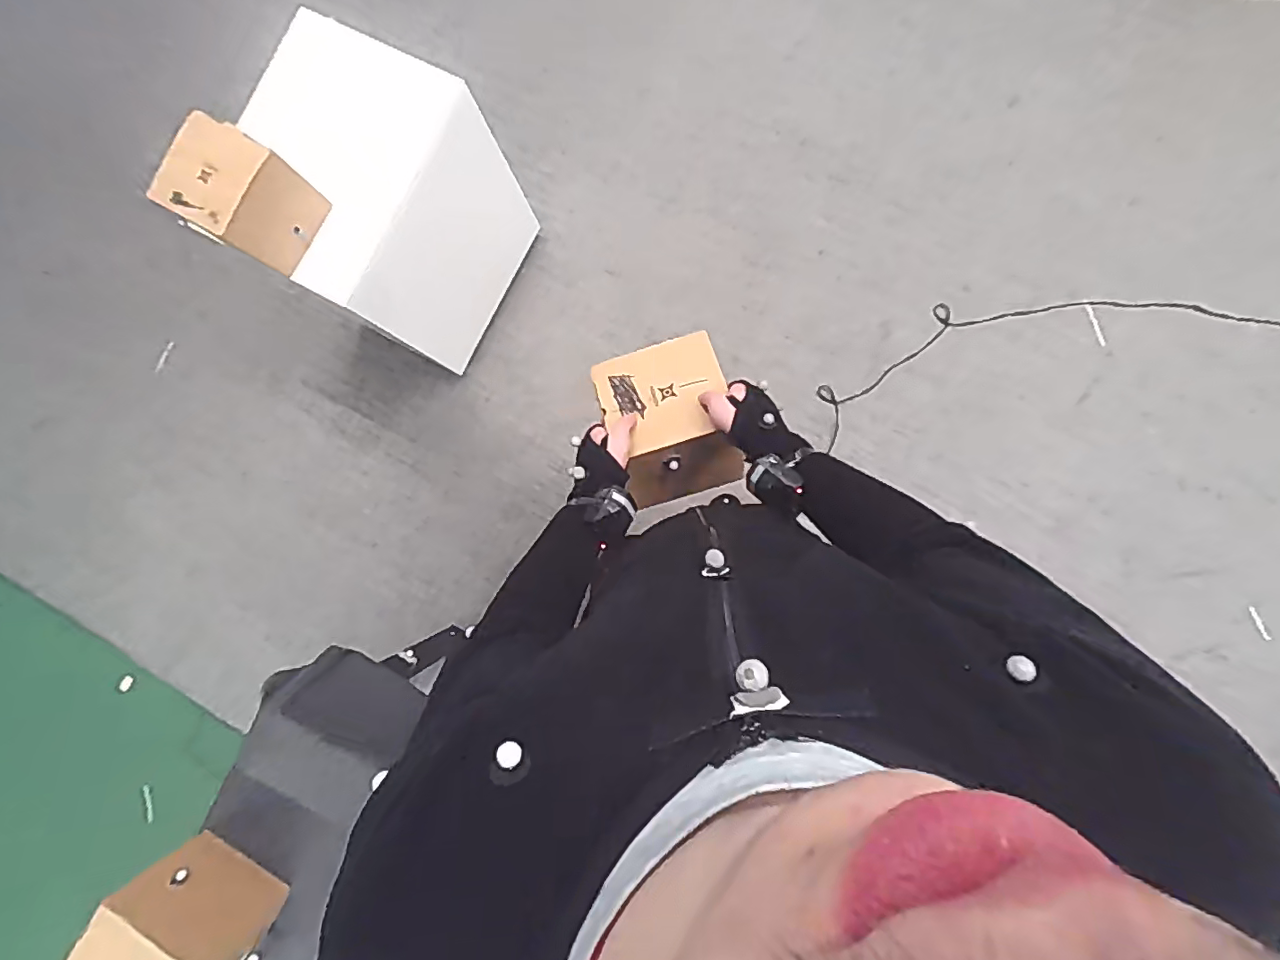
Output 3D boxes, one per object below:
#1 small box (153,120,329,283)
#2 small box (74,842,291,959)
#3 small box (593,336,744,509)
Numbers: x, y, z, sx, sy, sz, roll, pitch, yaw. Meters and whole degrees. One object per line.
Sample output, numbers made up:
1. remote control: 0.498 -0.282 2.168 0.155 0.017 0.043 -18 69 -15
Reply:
1. small box: -0.722 -0.505 1.004 0.168 0.176 0.179 29 88 7
2. small box: -0.676 0.684 0.798 0.179 0.176 0.168 29 91 5
3. small box: 0.047 -0.075 0.798 0.179 0.176 0.168 -16 62 4
